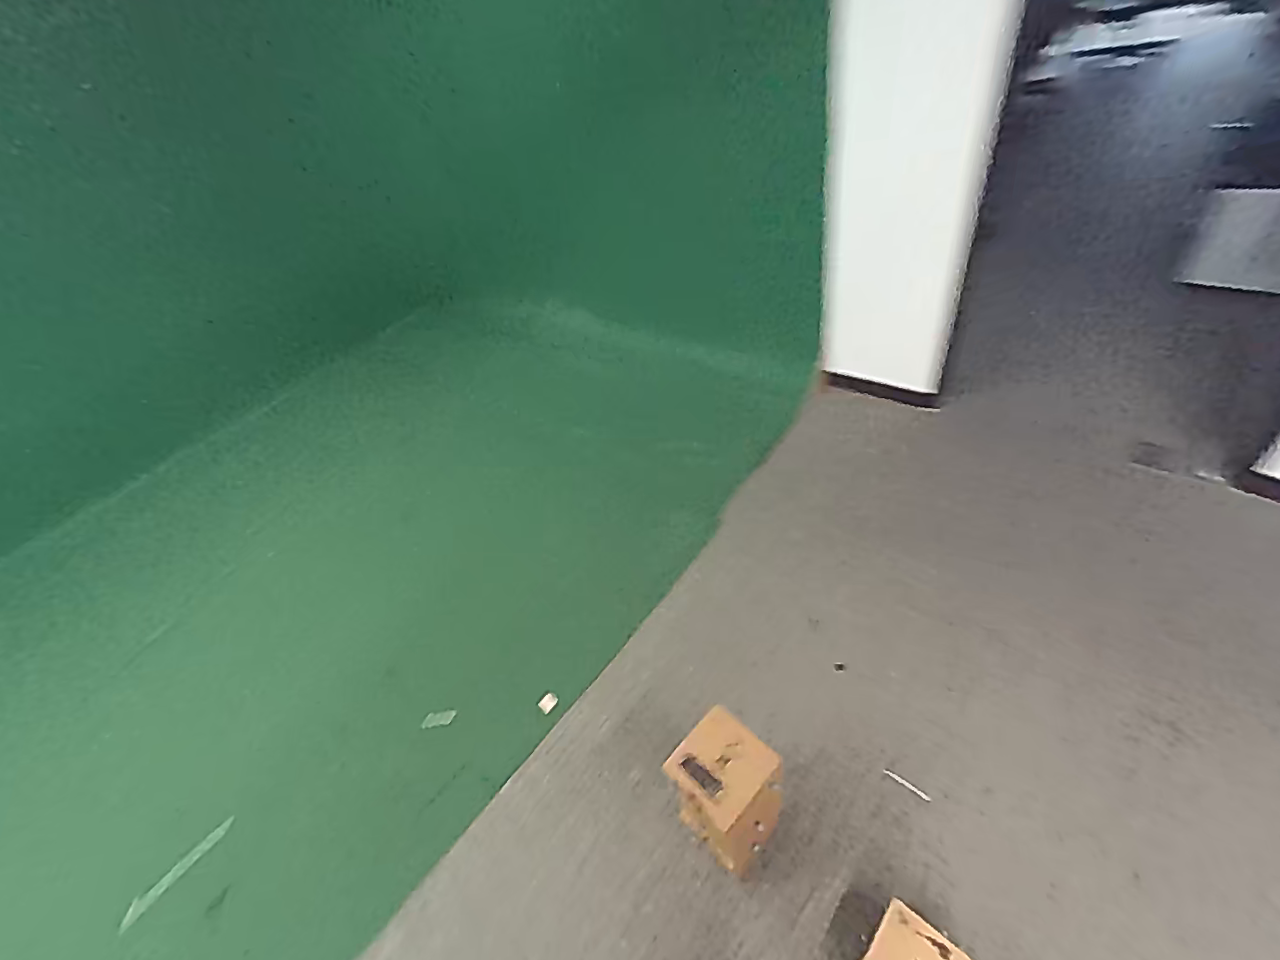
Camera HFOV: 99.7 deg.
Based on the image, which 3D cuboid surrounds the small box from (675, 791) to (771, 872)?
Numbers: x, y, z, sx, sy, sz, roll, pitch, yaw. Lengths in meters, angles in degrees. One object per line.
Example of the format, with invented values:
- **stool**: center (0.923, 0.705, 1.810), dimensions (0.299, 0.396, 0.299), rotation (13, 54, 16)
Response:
- **small box**: center (0.213, 0.827, 1.345), dimensions (0.179, 0.176, 0.168), rotation (-39, 50, -23)

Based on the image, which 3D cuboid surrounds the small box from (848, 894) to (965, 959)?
- **small box**: center (0.529, 0.995, 1.093), dimensions (0.168, 0.176, 0.179), rotation (29, 60, 36)

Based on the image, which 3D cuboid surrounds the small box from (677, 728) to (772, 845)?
- **small box**: center (0.195, 0.709, 1.245), dimensions (0.168, 0.176, 0.179), rotation (-18, 44, 1)
